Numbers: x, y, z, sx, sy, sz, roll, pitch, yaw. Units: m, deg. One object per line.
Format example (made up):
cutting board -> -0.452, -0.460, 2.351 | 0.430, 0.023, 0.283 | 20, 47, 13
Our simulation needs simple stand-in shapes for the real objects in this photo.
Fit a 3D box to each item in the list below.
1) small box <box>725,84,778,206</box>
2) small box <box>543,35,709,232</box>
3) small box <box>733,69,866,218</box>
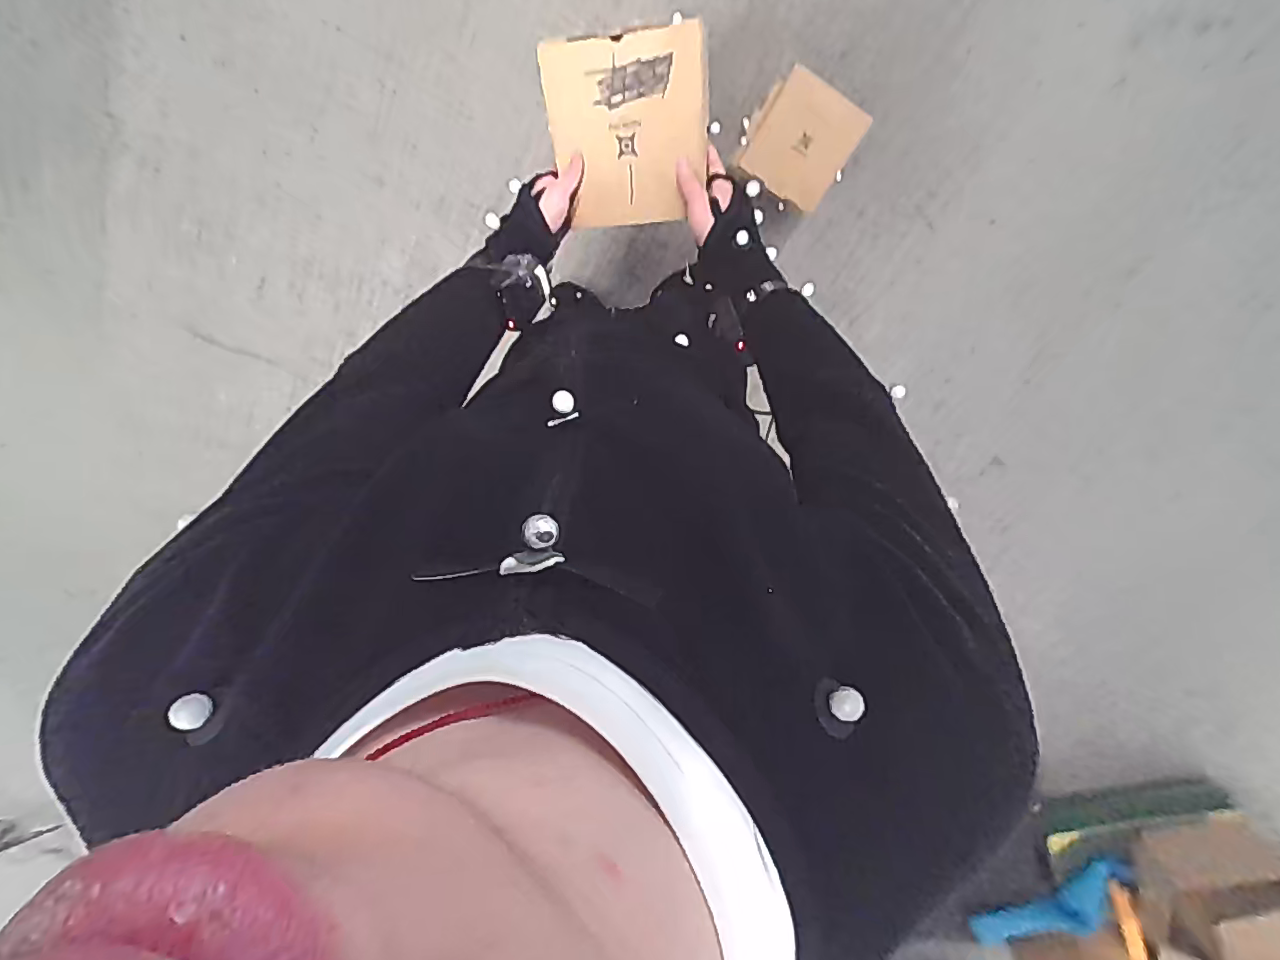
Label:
small box -> 0.303, -0.724, 1.195 | 0.179, 0.176, 0.168 | 27, 115, -10
small box -> -0.005, -0.405, 0.638 | 0.168, 0.176, 0.179 | 2, 128, 7
small box -> 0.292, -0.632, 1.038 | 0.168, 0.176, 0.179 | 28, 115, -11
